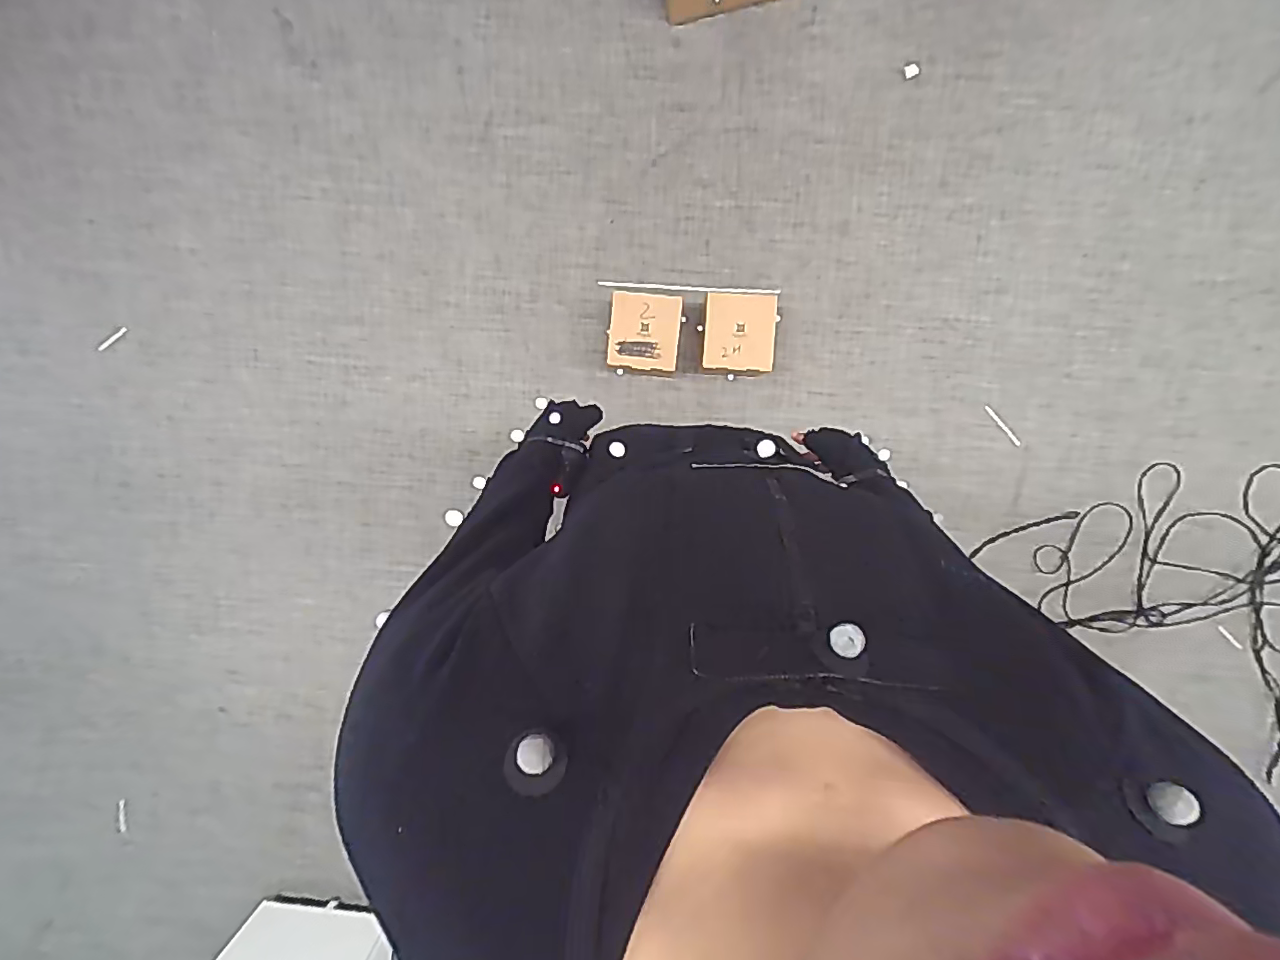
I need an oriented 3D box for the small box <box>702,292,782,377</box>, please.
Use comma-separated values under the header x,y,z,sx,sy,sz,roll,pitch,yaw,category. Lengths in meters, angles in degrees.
x,y,z,sx,sy,sz,roll,pitch,yaw,category
0.245,-0.354,1.340,0.168,0.176,0.179,3,97,2,small box
